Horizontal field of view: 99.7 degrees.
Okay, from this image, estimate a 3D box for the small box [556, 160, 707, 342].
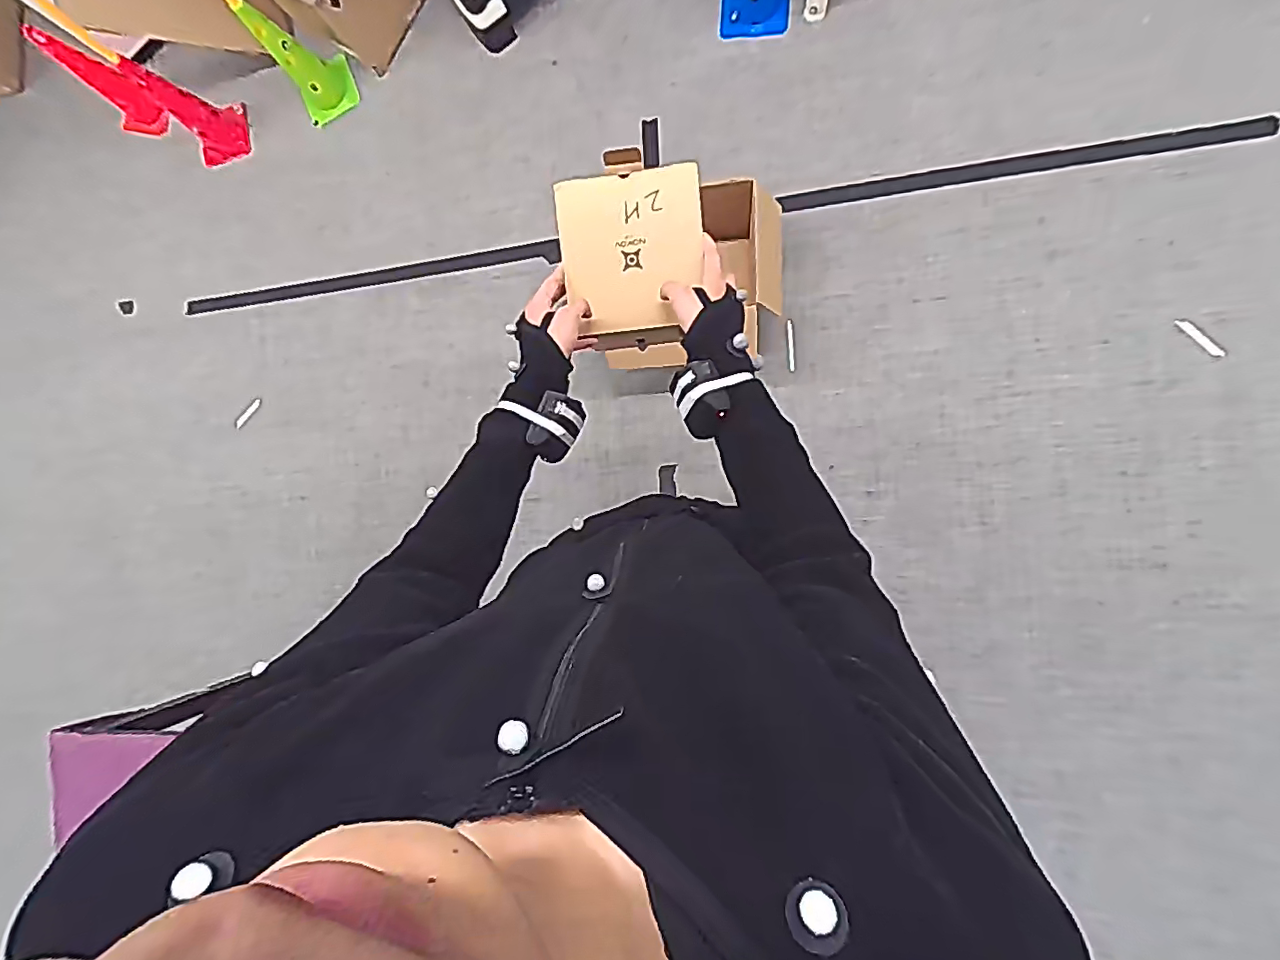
[{"bbox_3d":[-0.001,-0.278,0.700,0.168,0.176,0.179,-5,97,6],"label":"small box"}]
